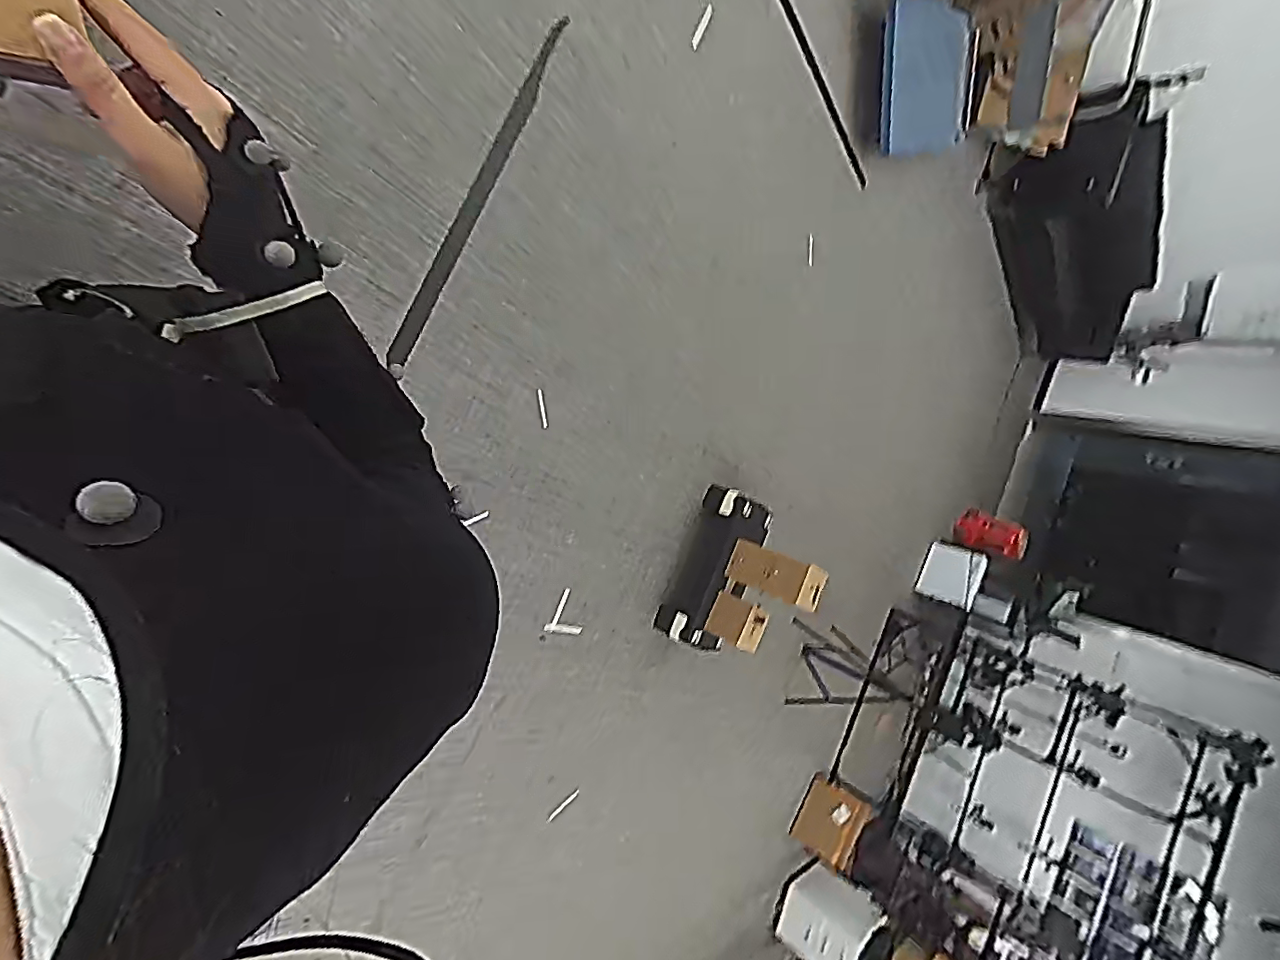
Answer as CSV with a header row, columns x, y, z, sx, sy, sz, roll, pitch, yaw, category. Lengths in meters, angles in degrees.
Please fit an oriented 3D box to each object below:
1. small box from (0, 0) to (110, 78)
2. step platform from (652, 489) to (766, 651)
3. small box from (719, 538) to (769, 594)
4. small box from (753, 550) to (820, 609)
x,y,z,sx,sy,sz,roll,pitch,yaw,category
-0.370,-0.289,0.227,0.179,0.176,0.168,-19,126,-43,small box
0.315,0.398,2.362,0.286,0.204,0.684,28,81,-47,step platform
0.458,0.353,2.239,0.179,0.176,0.168,31,79,-46,small box
0.575,0.389,2.129,0.179,0.176,0.168,30,80,-45,small box
